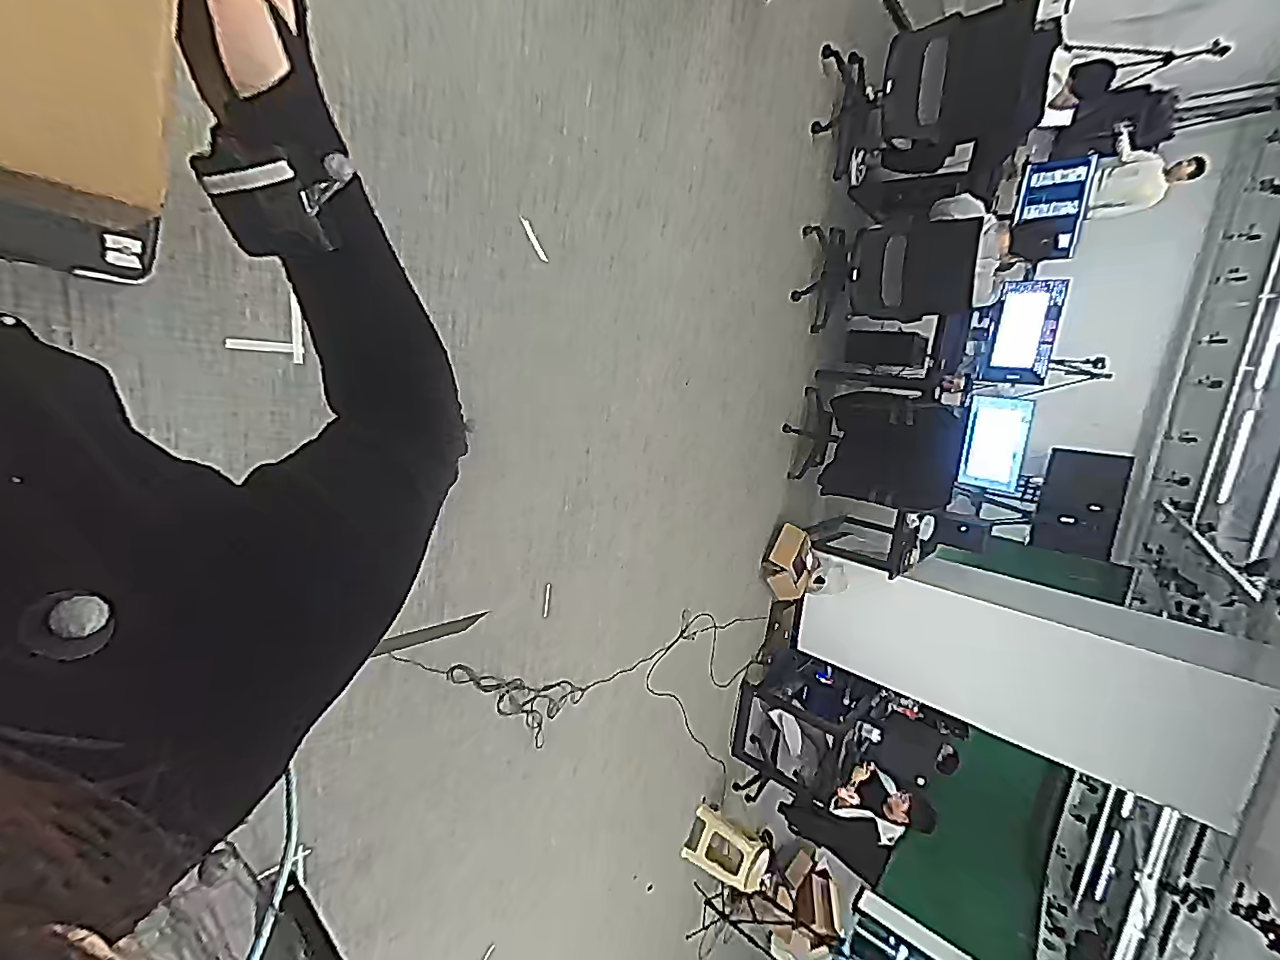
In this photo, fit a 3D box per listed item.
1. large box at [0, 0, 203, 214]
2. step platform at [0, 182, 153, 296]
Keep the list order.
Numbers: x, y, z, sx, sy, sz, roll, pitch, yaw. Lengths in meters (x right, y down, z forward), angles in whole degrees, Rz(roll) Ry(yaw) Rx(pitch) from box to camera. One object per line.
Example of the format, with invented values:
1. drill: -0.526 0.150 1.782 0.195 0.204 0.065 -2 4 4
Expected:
1. large box: -0.438 -0.333 0.210 0.408 0.320 0.320 3 104 -46
2. step platform: -1.129 -0.493 0.745 0.684 0.204 0.286 5 98 -50
